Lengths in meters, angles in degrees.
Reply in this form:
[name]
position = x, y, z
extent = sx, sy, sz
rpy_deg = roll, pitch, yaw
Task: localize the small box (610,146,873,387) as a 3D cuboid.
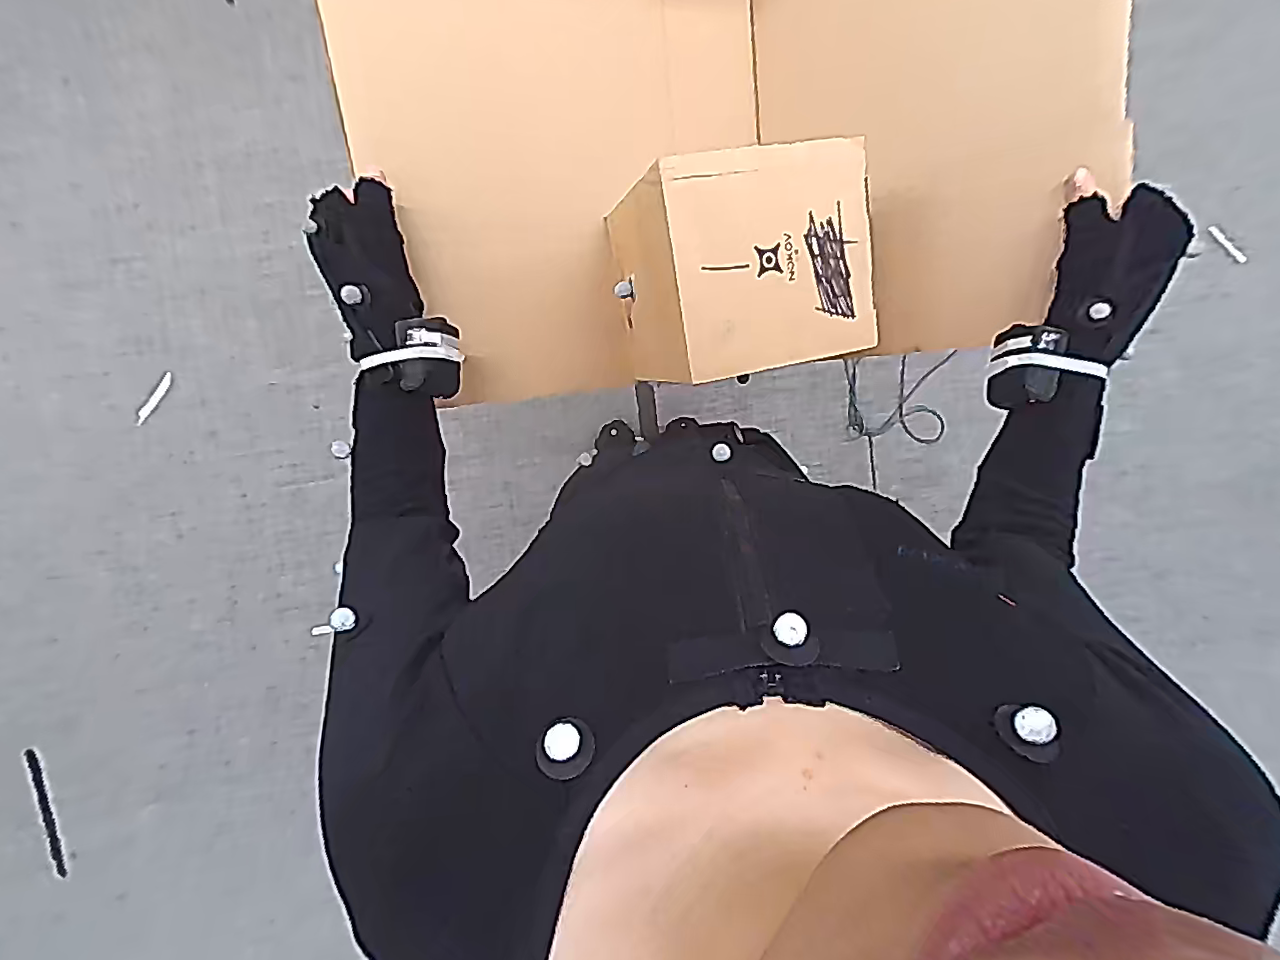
[small box]
position = 0.086, -0.186, 0.504
extent = 0.179, 0.176, 0.168
rpy_deg = -14, 105, -13
